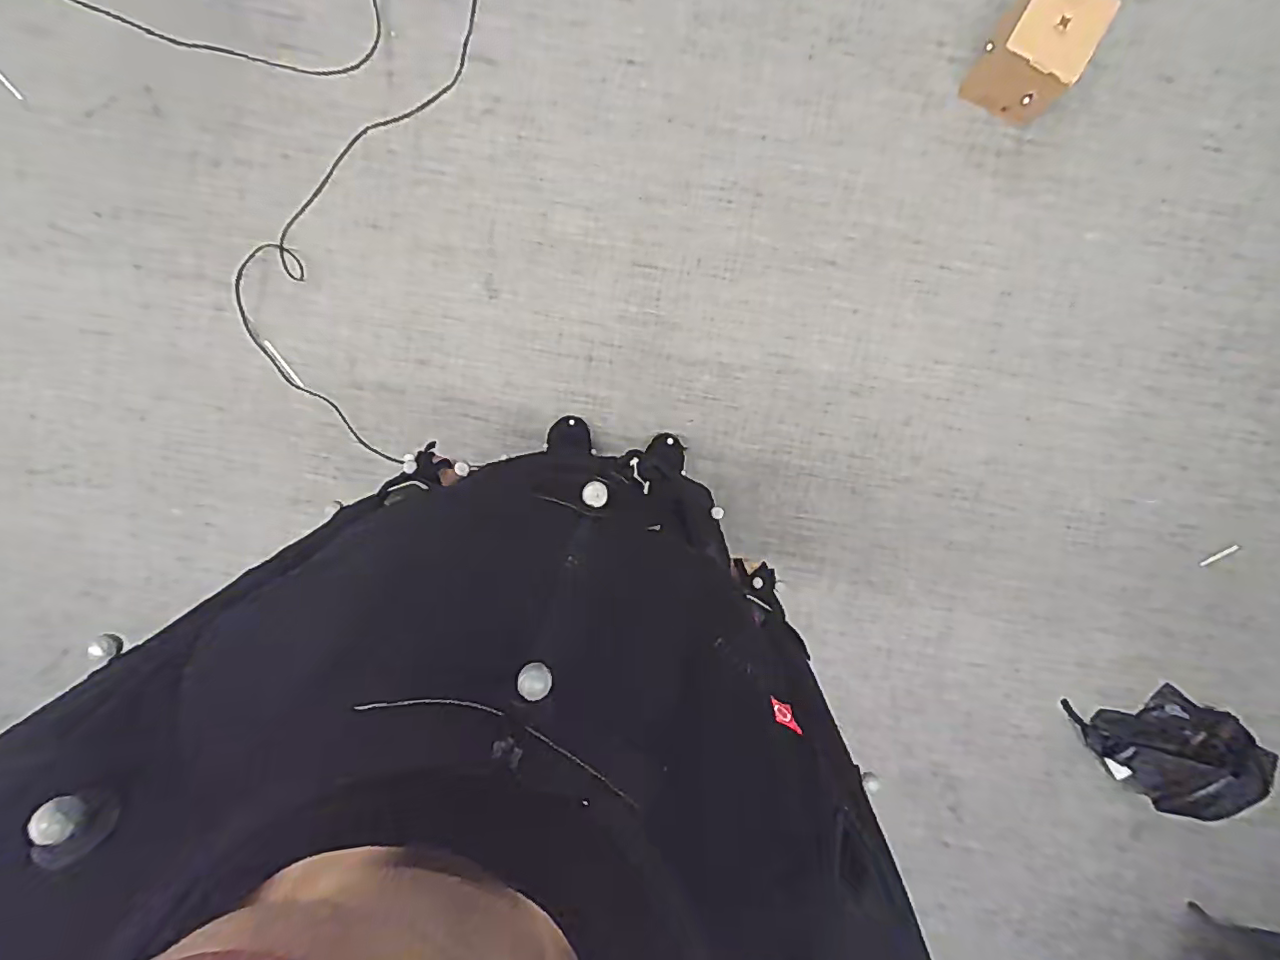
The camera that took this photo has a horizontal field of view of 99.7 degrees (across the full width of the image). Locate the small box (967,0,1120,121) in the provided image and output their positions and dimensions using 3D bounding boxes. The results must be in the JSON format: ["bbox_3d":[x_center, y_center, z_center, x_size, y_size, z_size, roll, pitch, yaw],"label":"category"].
[{"bbox_3d":[0.844,-0.920,1.155,0.168,0.176,0.179,26,96,-3],"label":"small box"}]
